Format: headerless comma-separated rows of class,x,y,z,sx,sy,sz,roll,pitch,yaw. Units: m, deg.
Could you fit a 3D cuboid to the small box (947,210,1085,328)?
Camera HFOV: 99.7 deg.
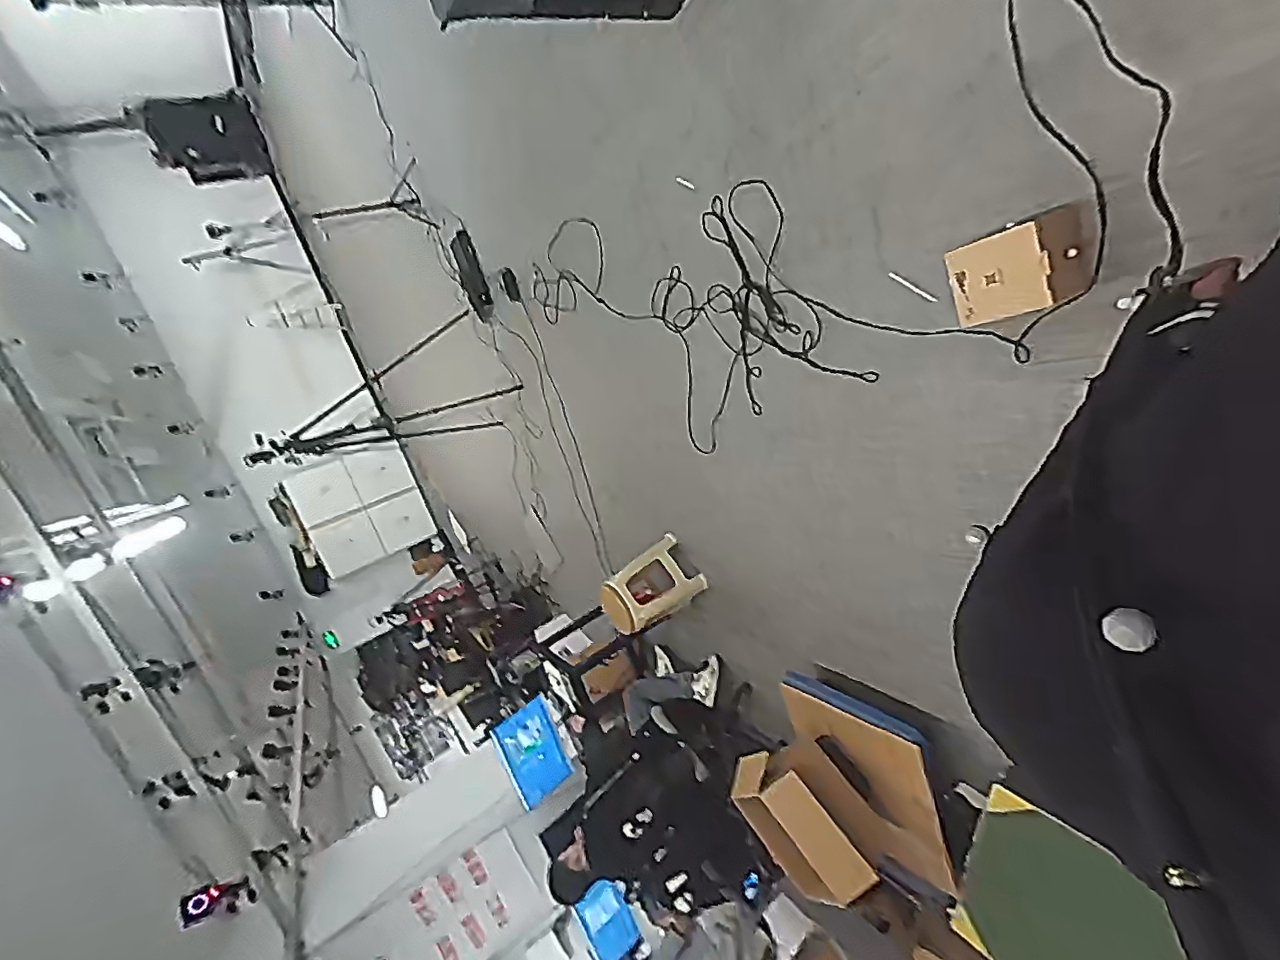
small box,0.779,-0.434,1.114,0.179,0.176,0.168,0,112,60
